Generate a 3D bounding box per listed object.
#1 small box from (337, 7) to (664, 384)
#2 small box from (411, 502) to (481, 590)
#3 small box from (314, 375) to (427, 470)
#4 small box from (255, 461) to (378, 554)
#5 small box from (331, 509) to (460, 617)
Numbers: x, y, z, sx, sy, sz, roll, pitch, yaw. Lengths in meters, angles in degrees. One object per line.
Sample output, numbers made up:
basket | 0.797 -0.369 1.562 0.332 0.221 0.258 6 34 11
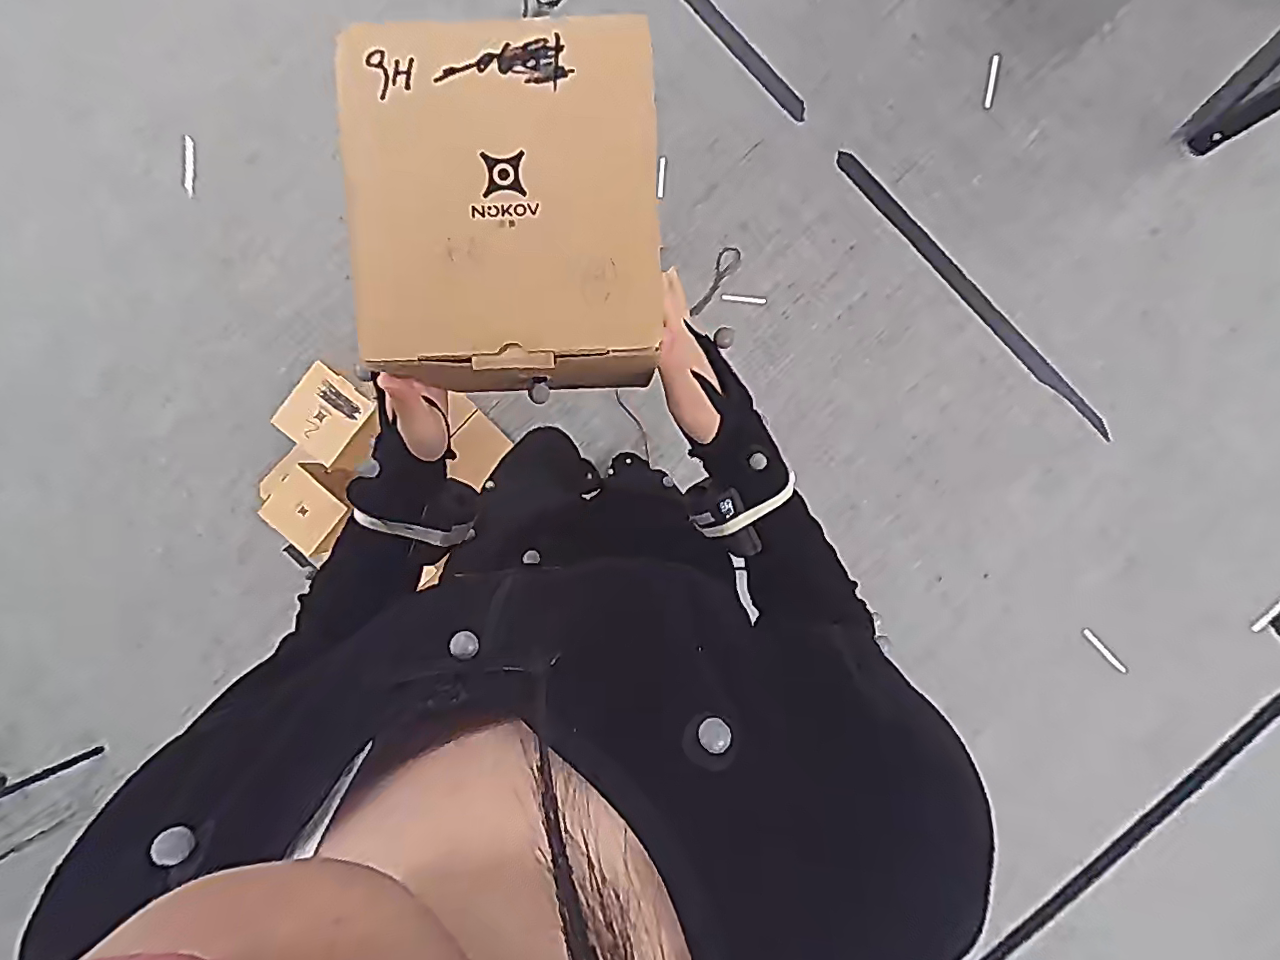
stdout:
small box | -0.070 -0.157 0.359 0.168 0.176 0.179 -2 94 -1
small box | -0.548 0.173 1.406 0.168 0.176 0.179 -42 91 2
small box | -0.684 -0.144 1.402 0.168 0.176 0.179 41 92 0
small box | -0.835 0.067 1.411 0.179 0.176 0.168 40 94 0
small box | -0.551 0.179 1.242 0.168 0.176 0.179 -41 91 2
